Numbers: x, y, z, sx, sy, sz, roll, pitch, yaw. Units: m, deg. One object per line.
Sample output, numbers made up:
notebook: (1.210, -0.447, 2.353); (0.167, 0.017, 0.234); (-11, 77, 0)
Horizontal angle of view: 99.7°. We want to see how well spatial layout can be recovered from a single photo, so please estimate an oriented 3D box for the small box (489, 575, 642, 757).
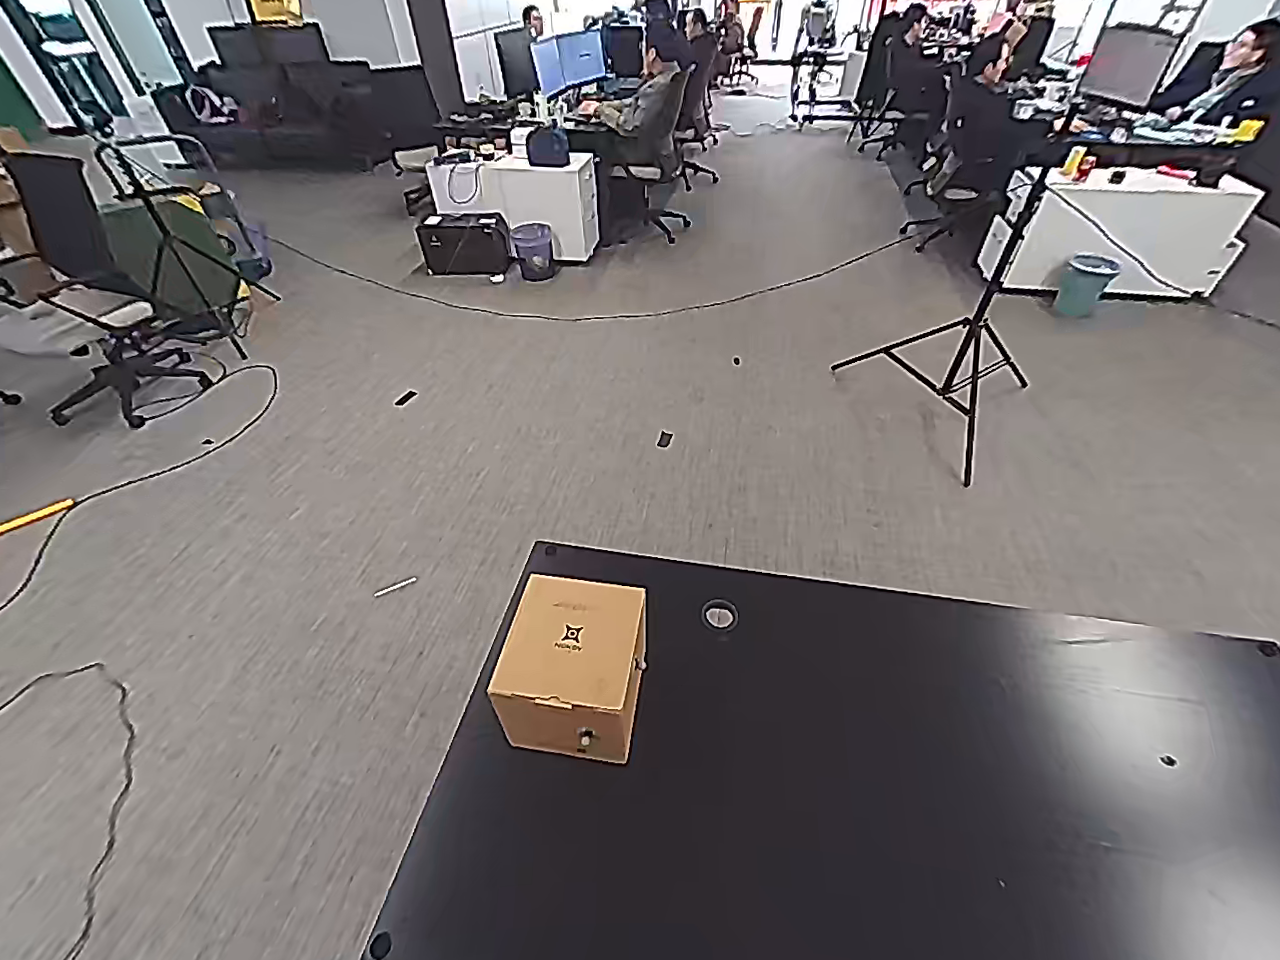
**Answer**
small box: (-0.089, 0.260, 0.752); (0.168, 0.176, 0.179); (6, 44, 6)
